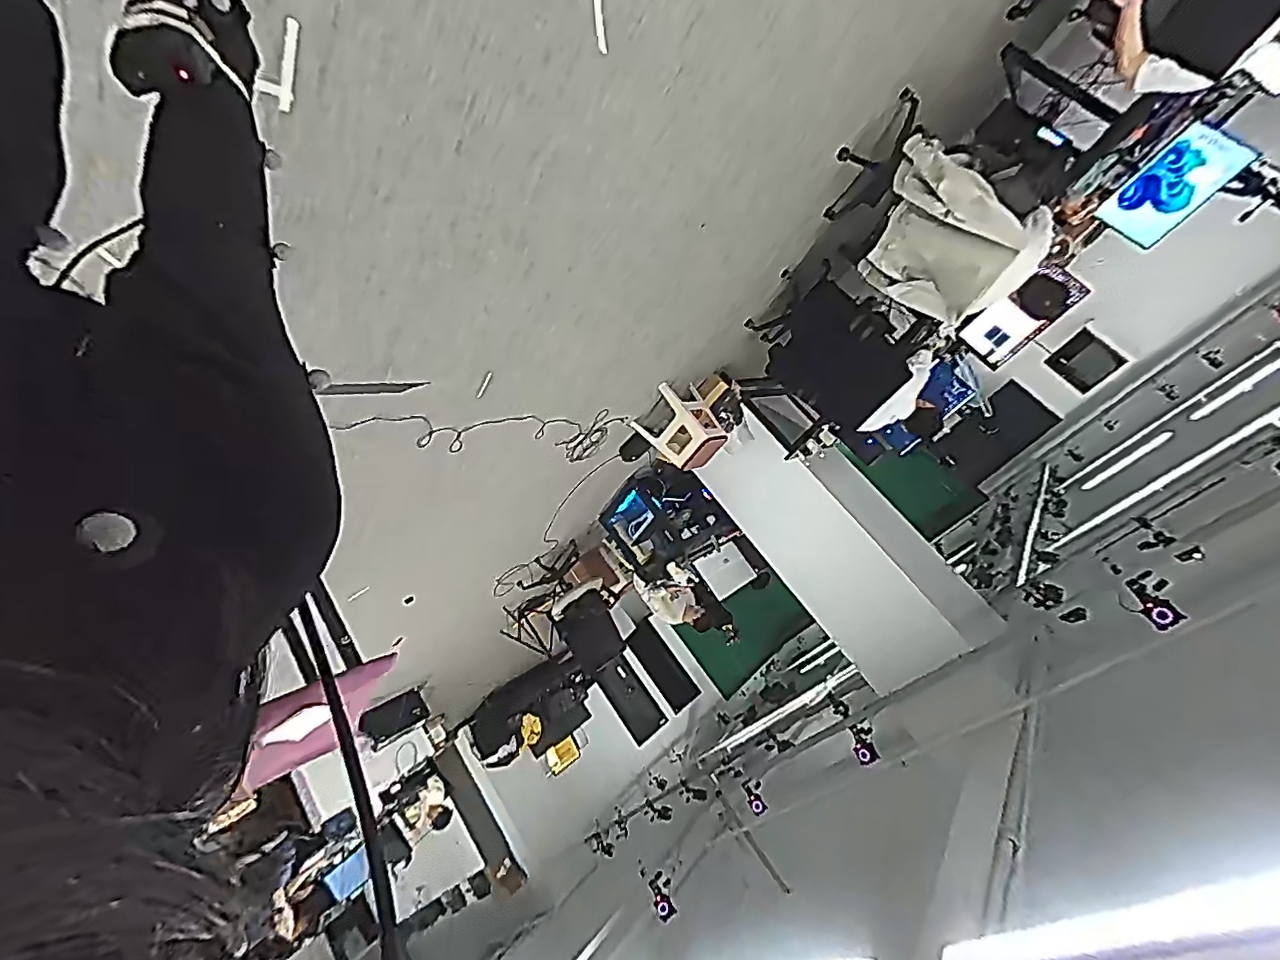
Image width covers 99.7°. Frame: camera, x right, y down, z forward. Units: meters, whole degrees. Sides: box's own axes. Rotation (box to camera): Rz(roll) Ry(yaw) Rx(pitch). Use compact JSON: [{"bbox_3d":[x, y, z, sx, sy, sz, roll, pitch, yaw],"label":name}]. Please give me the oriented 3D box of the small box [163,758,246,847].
[{"bbox_3d":[-1.433,1.058,1.778,0.179,0.176,0.168,-22,156,-40],"label":"small box"}]
